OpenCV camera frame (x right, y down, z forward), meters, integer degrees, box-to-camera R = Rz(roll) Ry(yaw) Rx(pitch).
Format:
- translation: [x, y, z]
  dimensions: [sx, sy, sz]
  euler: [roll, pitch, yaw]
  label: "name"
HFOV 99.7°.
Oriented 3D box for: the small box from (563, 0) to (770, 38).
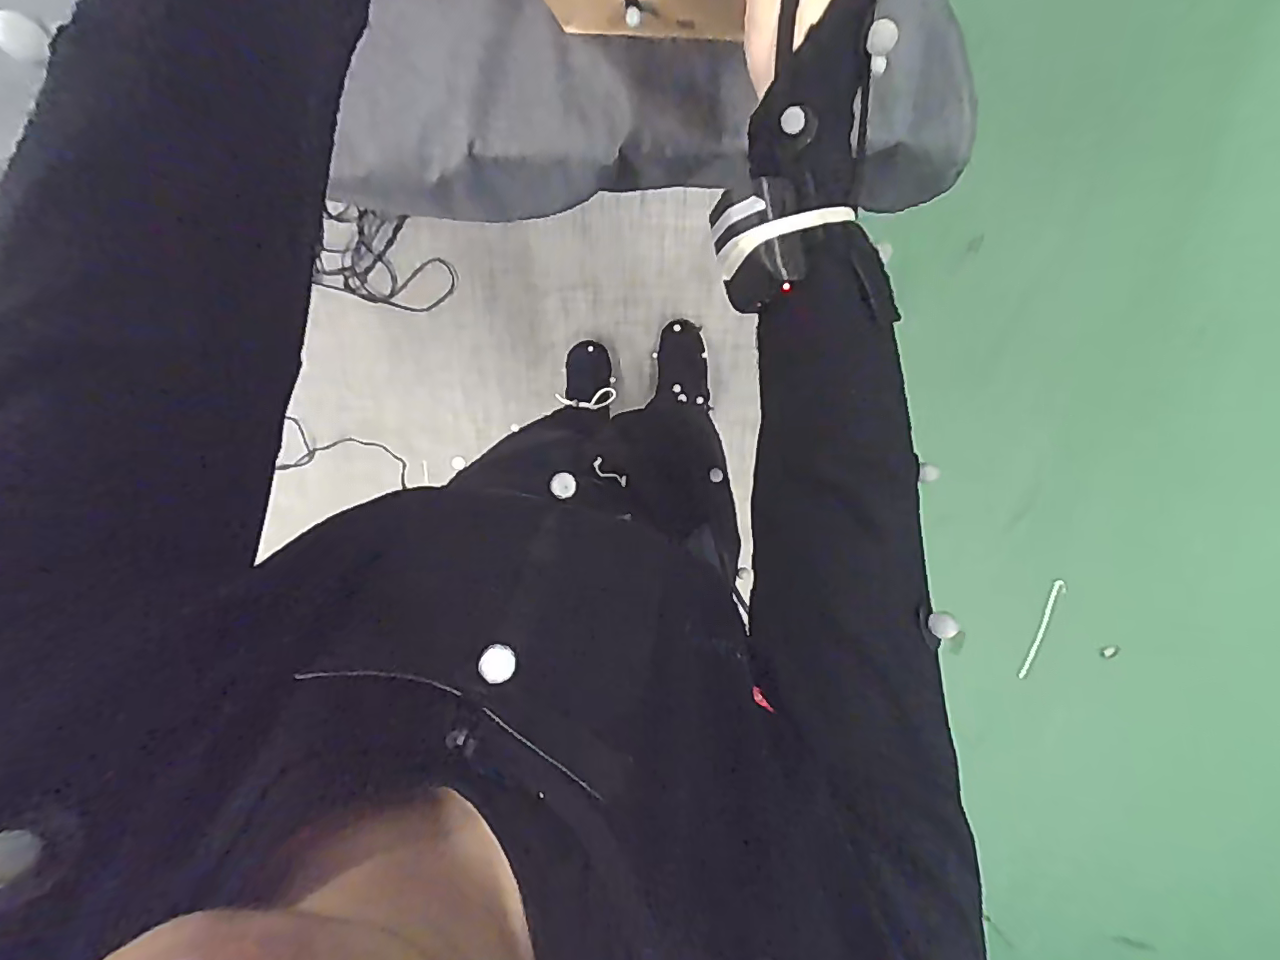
- translation: [0.013, -0.408, 0.326]
  dimensions: [0.168, 0.176, 0.179]
  euler: [7, 114, 6]
  label: "small box"
